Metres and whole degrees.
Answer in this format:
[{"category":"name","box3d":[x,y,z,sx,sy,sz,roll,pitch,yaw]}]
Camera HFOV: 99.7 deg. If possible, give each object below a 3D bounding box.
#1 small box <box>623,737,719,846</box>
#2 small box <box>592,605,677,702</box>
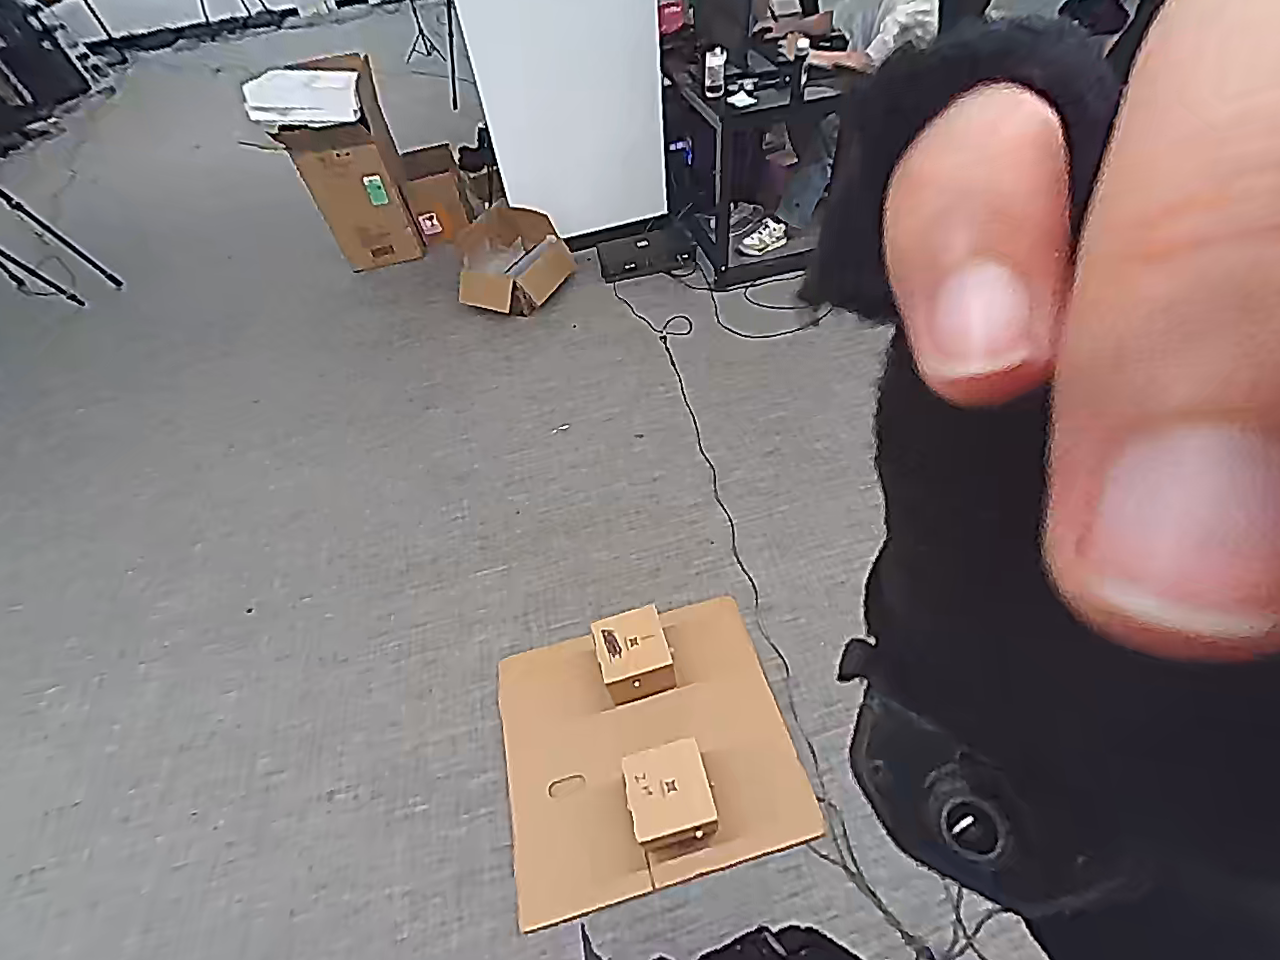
[{"category":"small box","box3d":[0.071,0.701,1.214,0.179,0.176,0.168,-15,51,-2]},{"category":"small box","box3d":[-0.012,0.460,1.419,0.179,0.176,0.168,-16,51,-5]}]
